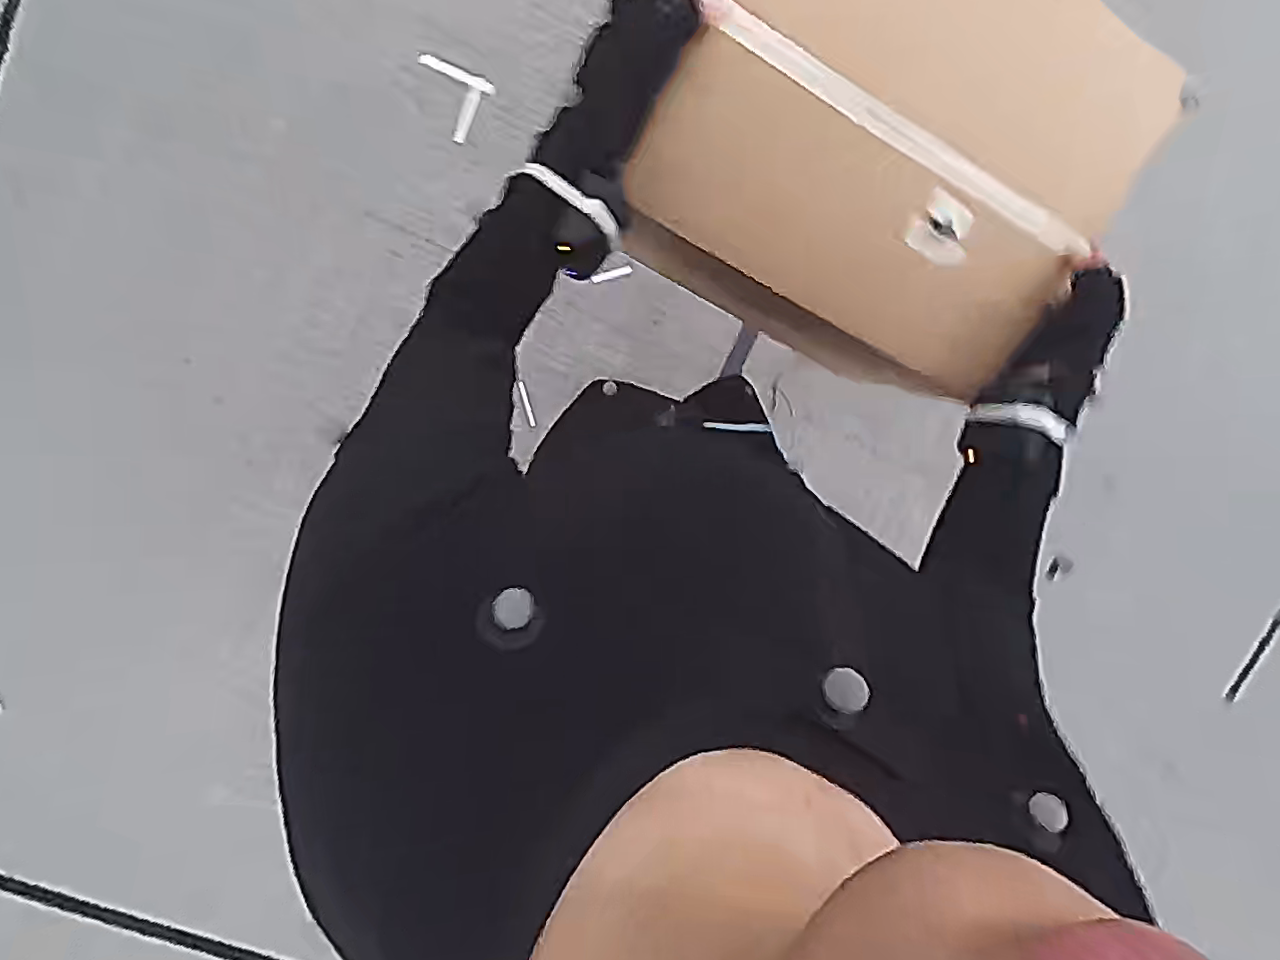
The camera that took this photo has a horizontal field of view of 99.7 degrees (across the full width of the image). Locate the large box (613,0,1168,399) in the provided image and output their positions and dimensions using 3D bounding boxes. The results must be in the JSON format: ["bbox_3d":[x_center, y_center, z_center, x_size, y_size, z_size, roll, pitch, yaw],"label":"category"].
[{"bbox_3d":[0.214,-0.335,0.616,0.408,0.320,0.320,26,104,-11],"label":"large box"}]
